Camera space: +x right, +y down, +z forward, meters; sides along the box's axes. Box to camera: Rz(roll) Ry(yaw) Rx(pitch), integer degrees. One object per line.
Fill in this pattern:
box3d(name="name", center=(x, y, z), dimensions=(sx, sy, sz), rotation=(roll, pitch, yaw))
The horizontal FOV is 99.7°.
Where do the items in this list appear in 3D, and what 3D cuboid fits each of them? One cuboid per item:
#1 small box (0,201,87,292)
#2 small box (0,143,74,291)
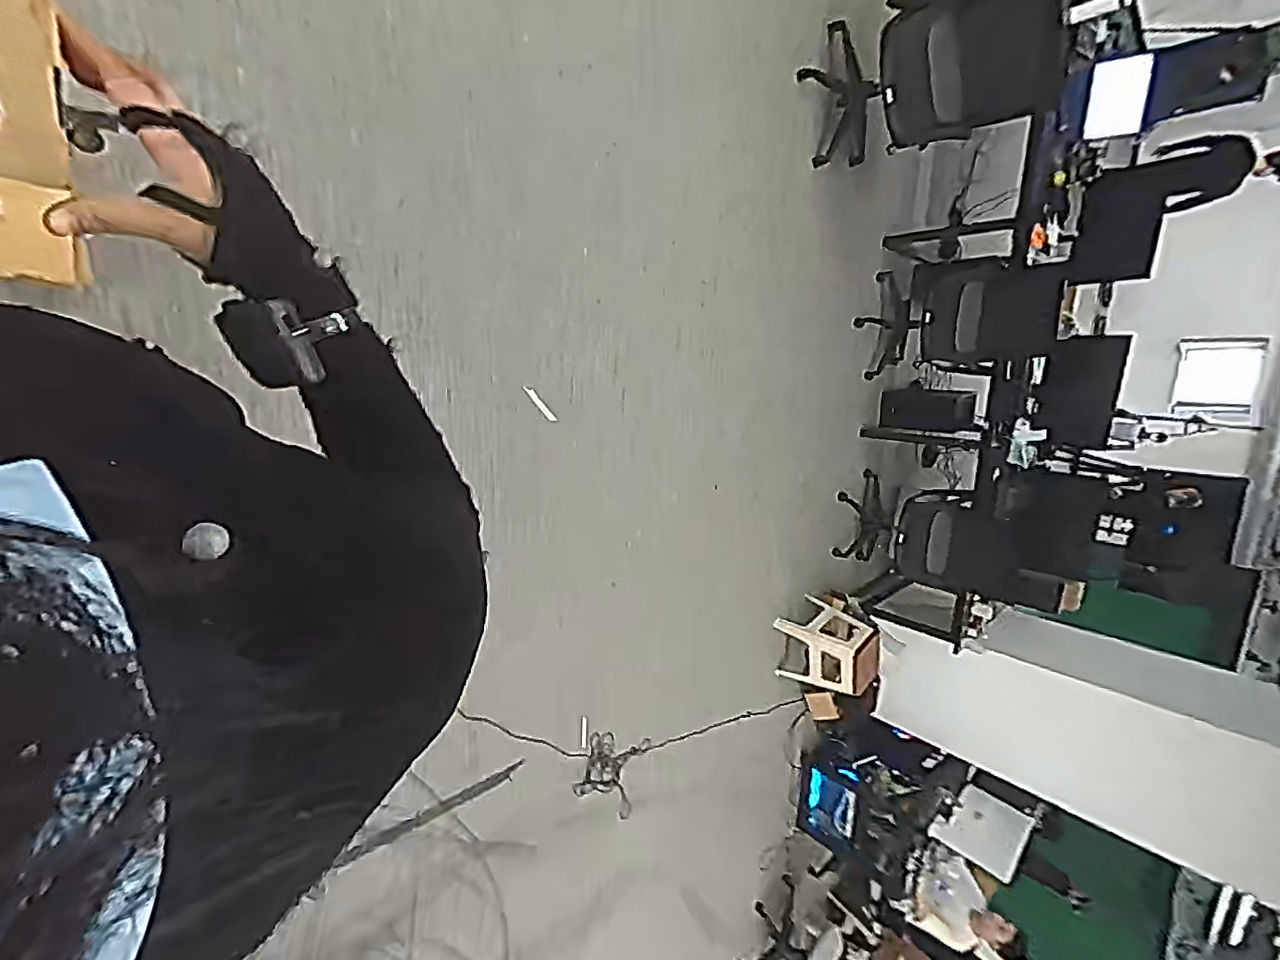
box3d(name="small box", center=(-1.060, -0.418, 0.907), dimensions=(0.168, 0.176, 0.179), rotation=(-11, 106, -43))
box3d(name="small box", center=(-0.951, -0.387, 0.789), dimensions=(0.168, 0.176, 0.179), rotation=(-2, 101, -44))
